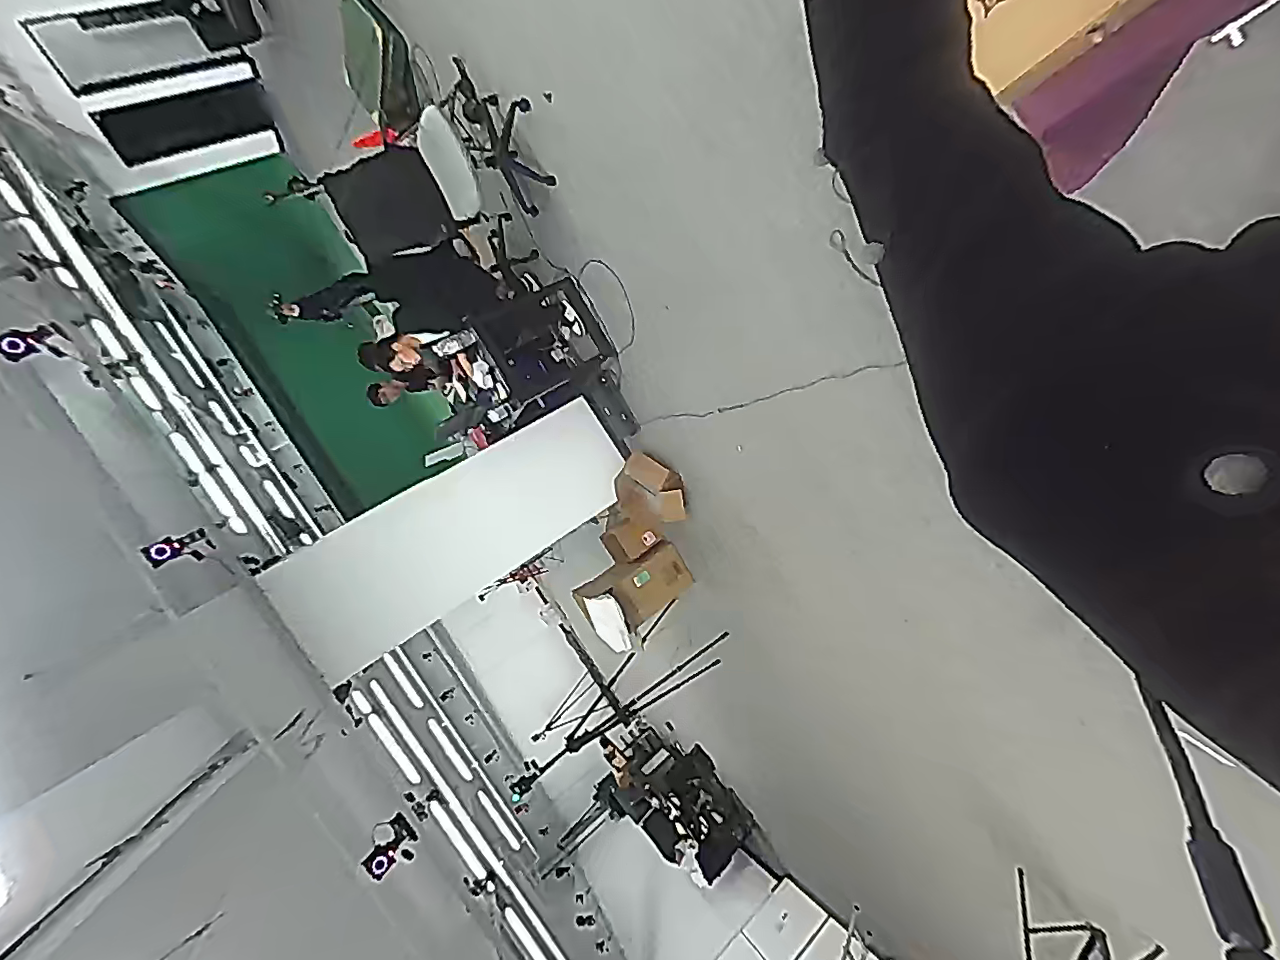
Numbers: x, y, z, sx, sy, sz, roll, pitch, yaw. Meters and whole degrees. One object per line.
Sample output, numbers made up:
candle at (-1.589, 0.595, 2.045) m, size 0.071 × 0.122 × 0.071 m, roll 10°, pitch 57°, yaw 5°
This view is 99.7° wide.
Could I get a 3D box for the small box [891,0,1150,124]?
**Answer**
small box at (0.420, -0.534, 0.580) m, size 0.168 × 0.176 × 0.179 m, roll 59°, pitch 157°, yaw -7°
